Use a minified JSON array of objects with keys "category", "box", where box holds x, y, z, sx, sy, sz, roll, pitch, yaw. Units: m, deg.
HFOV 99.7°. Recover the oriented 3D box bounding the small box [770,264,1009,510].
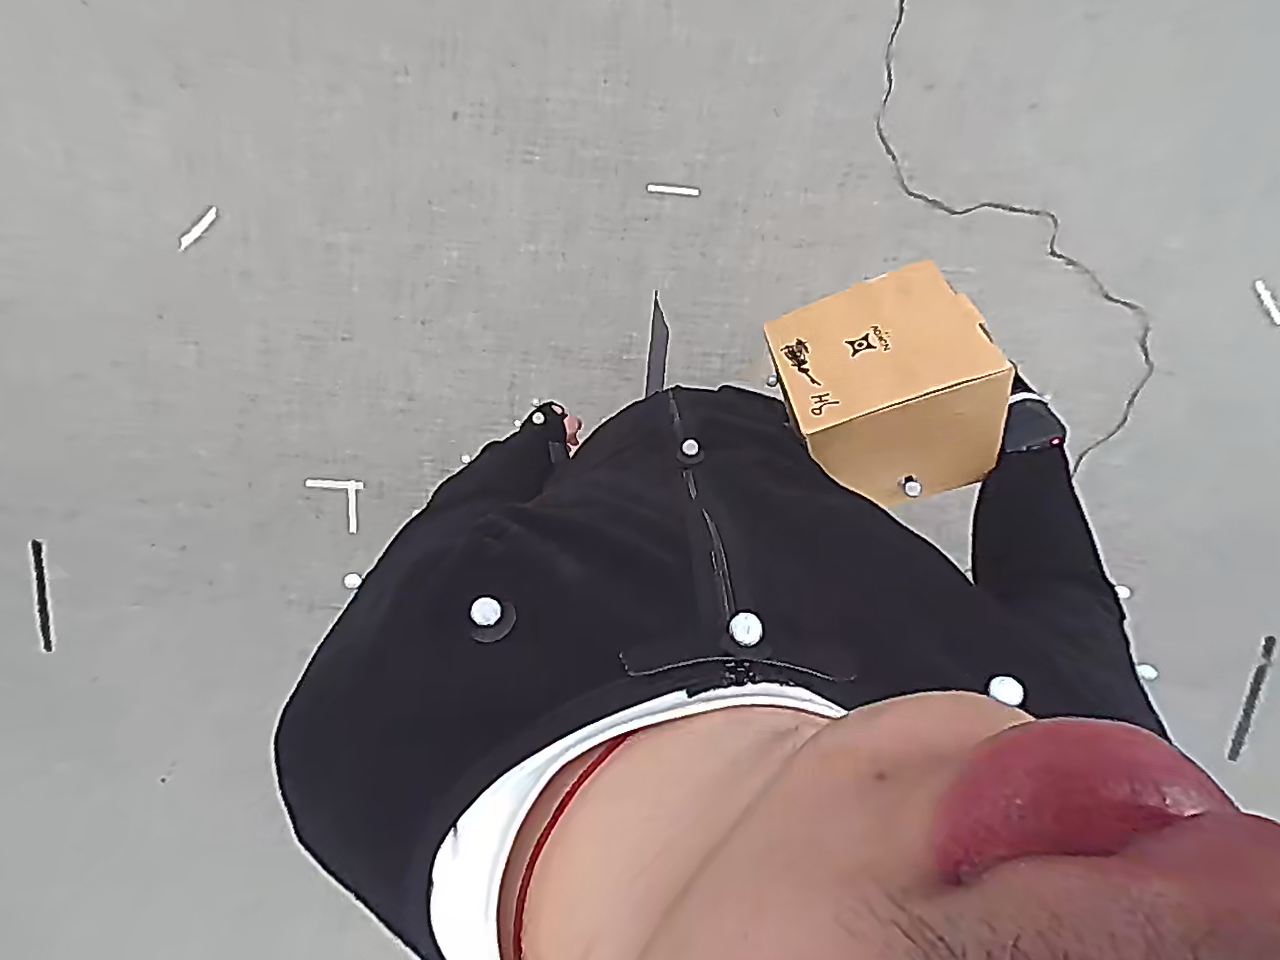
[{"category":"small box","box":[0.259,-0.092,0.589,0.179,0.168,0.176,-18,140,15]}]
